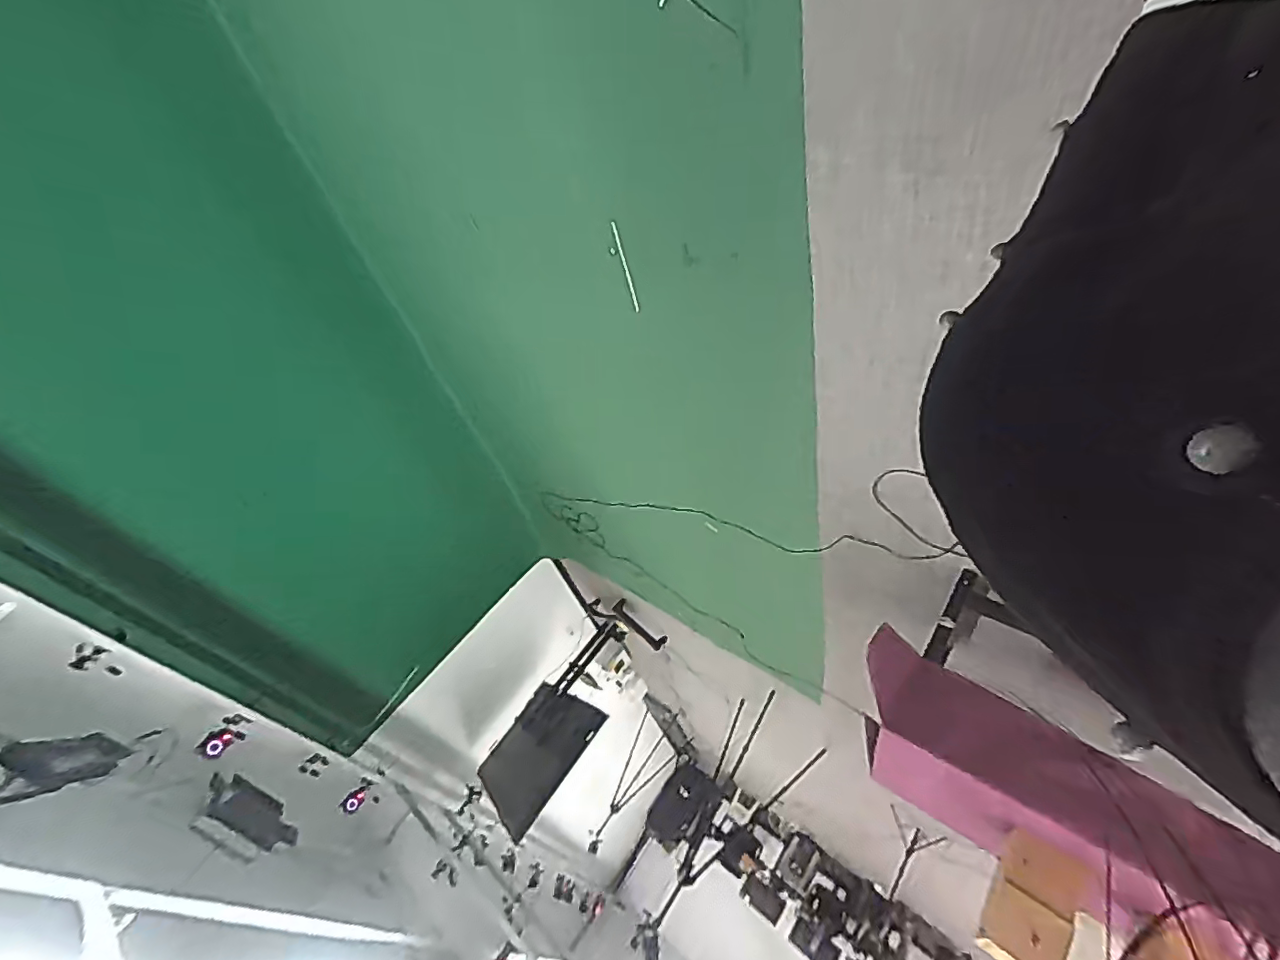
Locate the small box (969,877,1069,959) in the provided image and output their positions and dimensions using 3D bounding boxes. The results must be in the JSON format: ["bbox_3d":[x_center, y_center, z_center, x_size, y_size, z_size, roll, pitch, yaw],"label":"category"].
[{"bbox_3d":[1.087,1.285,1.550,0.179,0.176,0.168,25,150,31],"label":"small box"}]

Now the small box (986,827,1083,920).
[{"bbox_3d":[1.186,1.179,1.628,0.179,0.176,0.168,24,150,33],"label":"small box"}]

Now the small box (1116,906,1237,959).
[{"bbox_3d":[1.442,1.298,1.451,0.179,0.176,0.168,30,152,25],"label":"small box"}]
